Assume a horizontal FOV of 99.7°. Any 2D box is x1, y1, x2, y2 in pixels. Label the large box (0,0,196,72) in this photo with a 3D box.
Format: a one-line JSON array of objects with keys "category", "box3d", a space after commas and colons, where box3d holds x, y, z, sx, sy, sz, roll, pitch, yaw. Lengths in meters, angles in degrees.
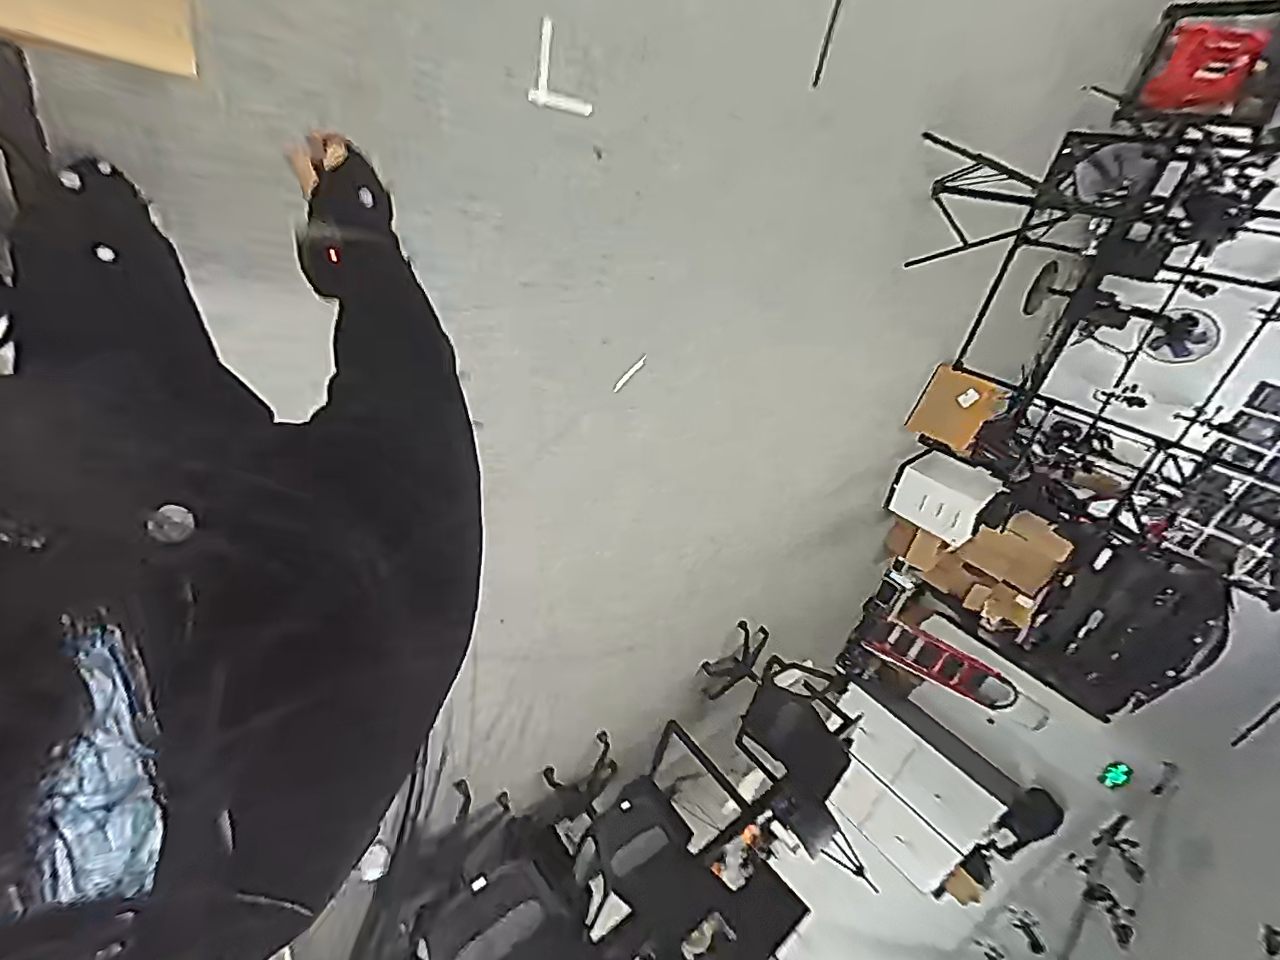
[{"category": "large box", "box3d": [-0.783, -0.696, 0.598, 0.408, 0.320, 0.320, -10, 123, -40]}]
